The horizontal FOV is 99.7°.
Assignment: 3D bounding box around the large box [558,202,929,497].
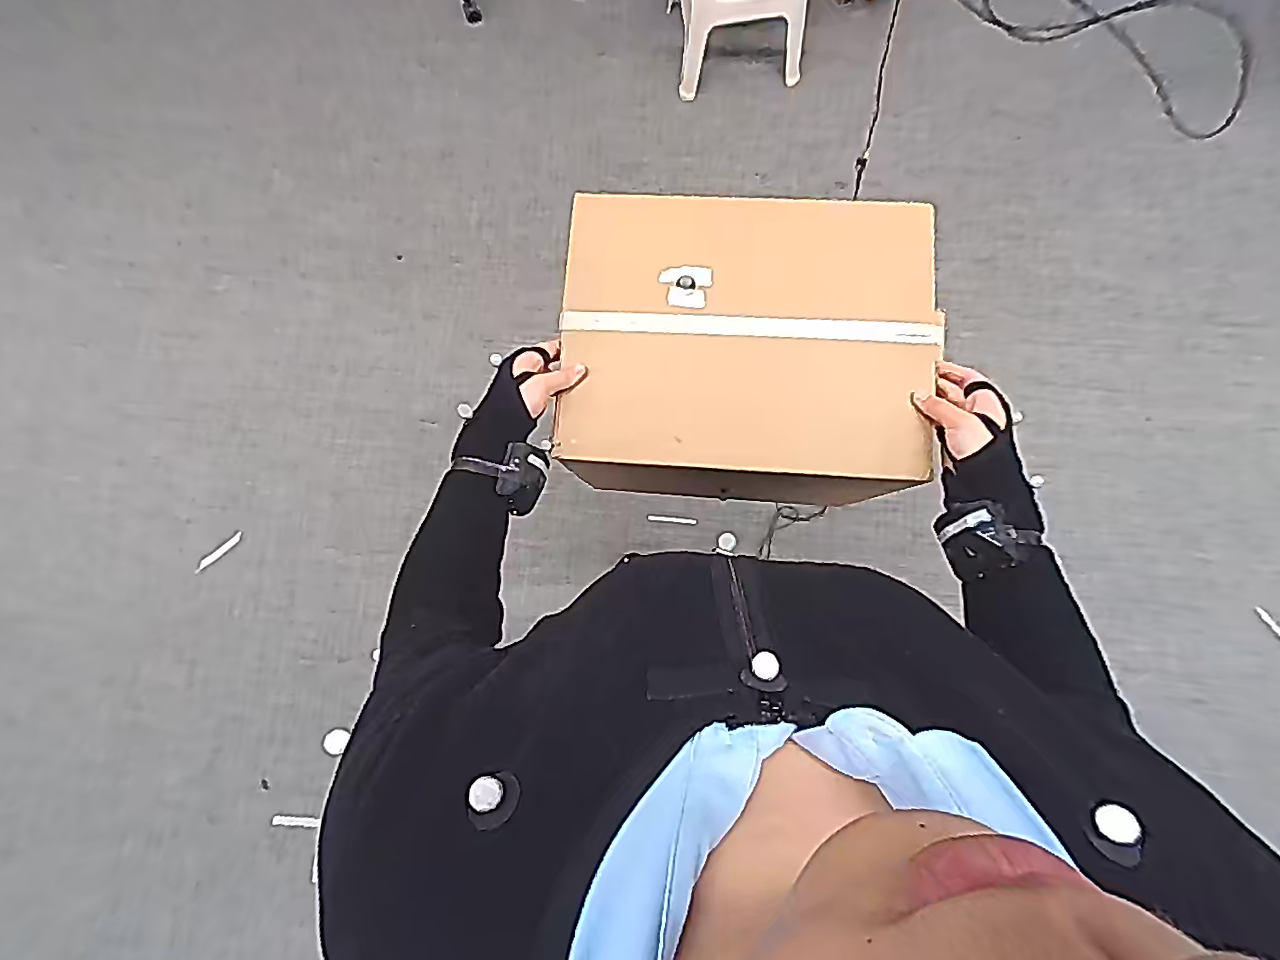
[{"bbox_3d":[0.127,-0.147,0.749,0.408,0.320,0.320,3,81,5],"label":"large box"}]
